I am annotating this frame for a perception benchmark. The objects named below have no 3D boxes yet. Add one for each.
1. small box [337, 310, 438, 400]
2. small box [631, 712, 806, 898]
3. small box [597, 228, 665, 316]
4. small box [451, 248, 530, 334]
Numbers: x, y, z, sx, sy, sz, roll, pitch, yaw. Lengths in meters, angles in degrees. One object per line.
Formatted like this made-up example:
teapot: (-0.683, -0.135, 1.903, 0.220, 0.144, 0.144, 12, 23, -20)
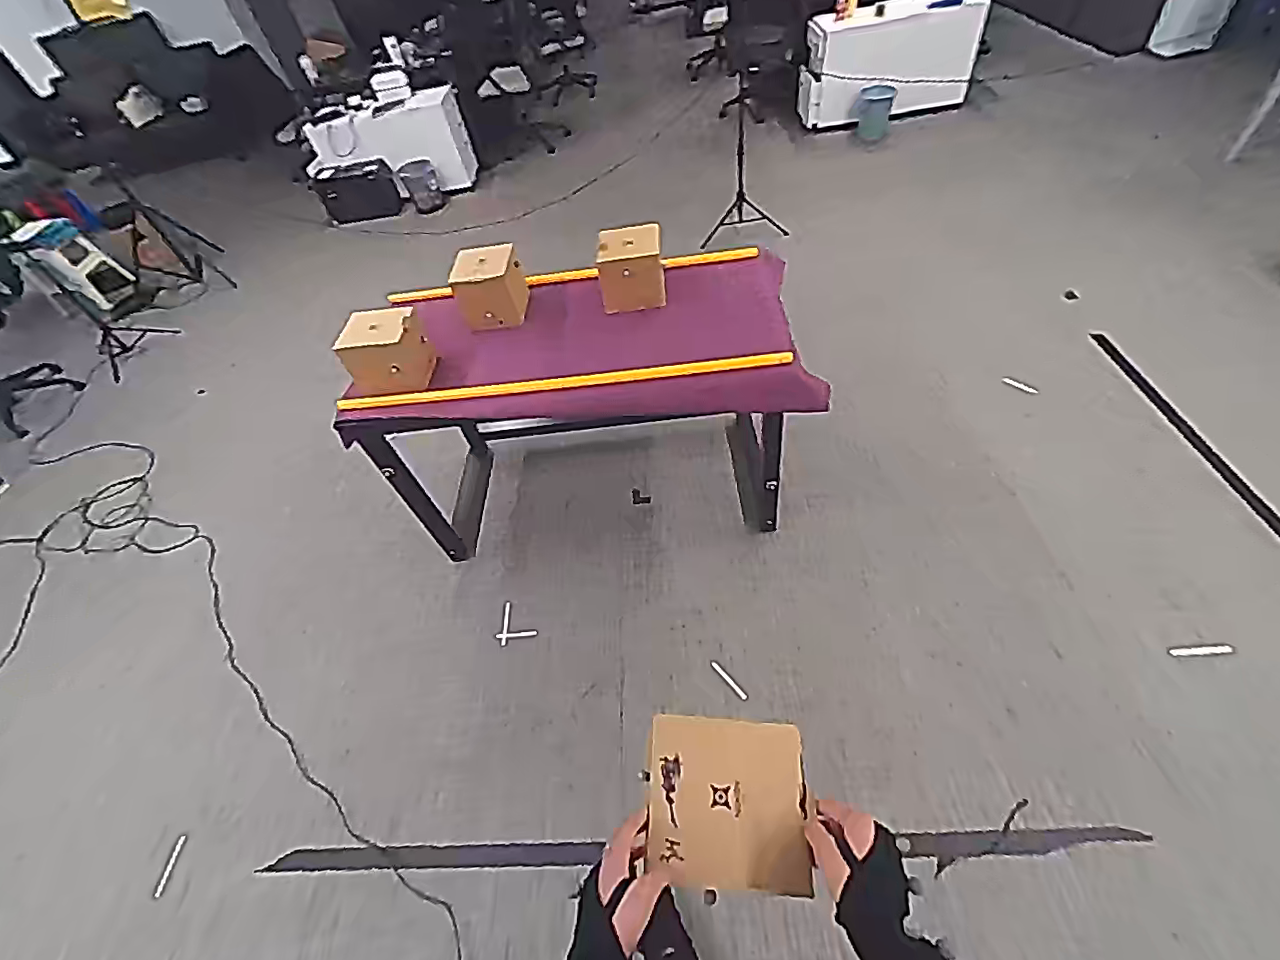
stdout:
small box: (-0.676, -0.338, 1.474, 0.179, 0.176, 0.168, -5, 50, 4)
small box: (0.086, 0.396, 0.661, 0.179, 0.176, 0.168, 5, 54, 0)
small box: (-0.019, -0.601, 1.572, 0.179, 0.176, 0.168, -6, 51, 7)
small box: (-0.438, -0.563, 1.618, 0.168, 0.176, 0.179, -5, 52, 7)
